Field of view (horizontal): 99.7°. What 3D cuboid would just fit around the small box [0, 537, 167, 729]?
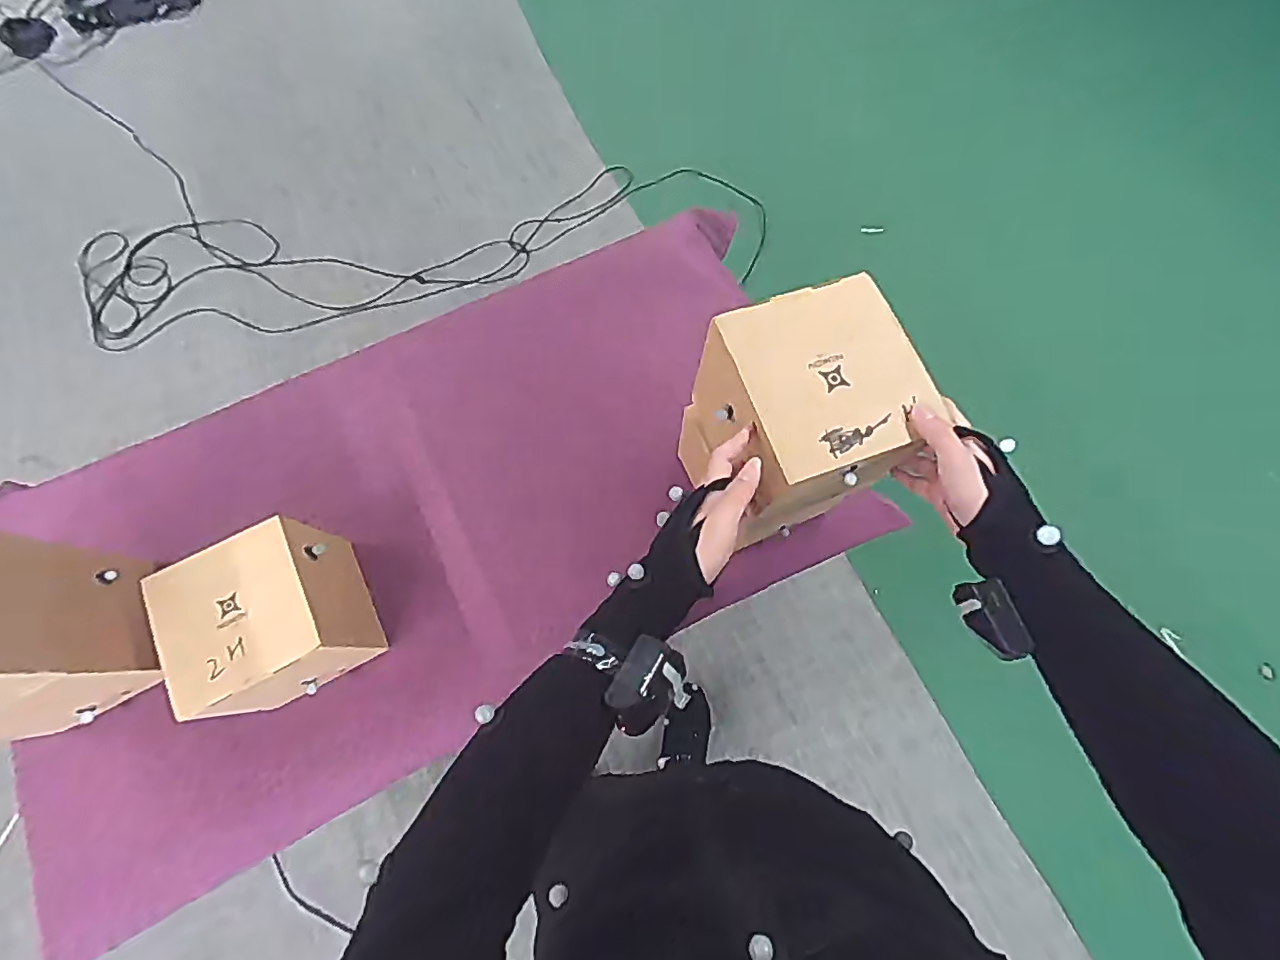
[{"bbox_3d":[-0.741,0.198,0.683,0.168,0.176,0.179,-28,75,-8],"label":"small box"}]

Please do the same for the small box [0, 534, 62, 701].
[{"bbox_3d":[-0.742,0.148,0.528,0.168,0.176,0.179,-29,75,-7],"label":"small box"}]

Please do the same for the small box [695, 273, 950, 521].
[{"bbox_3d":[0.167,-0.076,0.565,0.168,0.176,0.179,-18,74,-7],"label":"small box"}]

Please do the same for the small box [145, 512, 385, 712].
[{"bbox_3d":[-0.462,0.169,0.690,0.168,0.176,0.179,-27,75,-7],"label":"small box"}]
